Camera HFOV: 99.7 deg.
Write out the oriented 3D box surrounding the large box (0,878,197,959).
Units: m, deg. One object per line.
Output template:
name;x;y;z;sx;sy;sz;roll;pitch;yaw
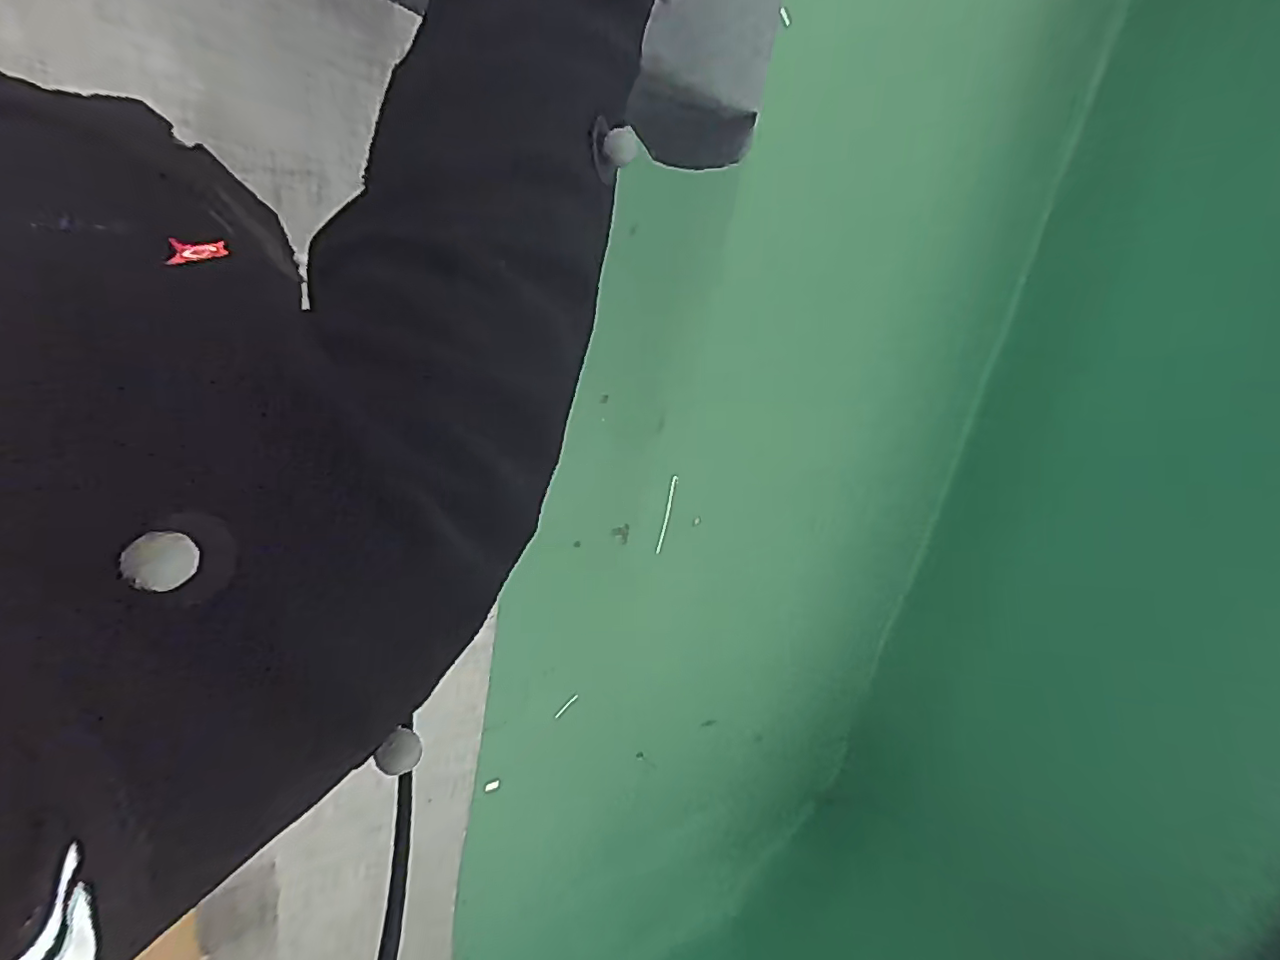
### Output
large box;-1.272;1.228;1.222;0.408;0.320;0.320;-3;112;-38
